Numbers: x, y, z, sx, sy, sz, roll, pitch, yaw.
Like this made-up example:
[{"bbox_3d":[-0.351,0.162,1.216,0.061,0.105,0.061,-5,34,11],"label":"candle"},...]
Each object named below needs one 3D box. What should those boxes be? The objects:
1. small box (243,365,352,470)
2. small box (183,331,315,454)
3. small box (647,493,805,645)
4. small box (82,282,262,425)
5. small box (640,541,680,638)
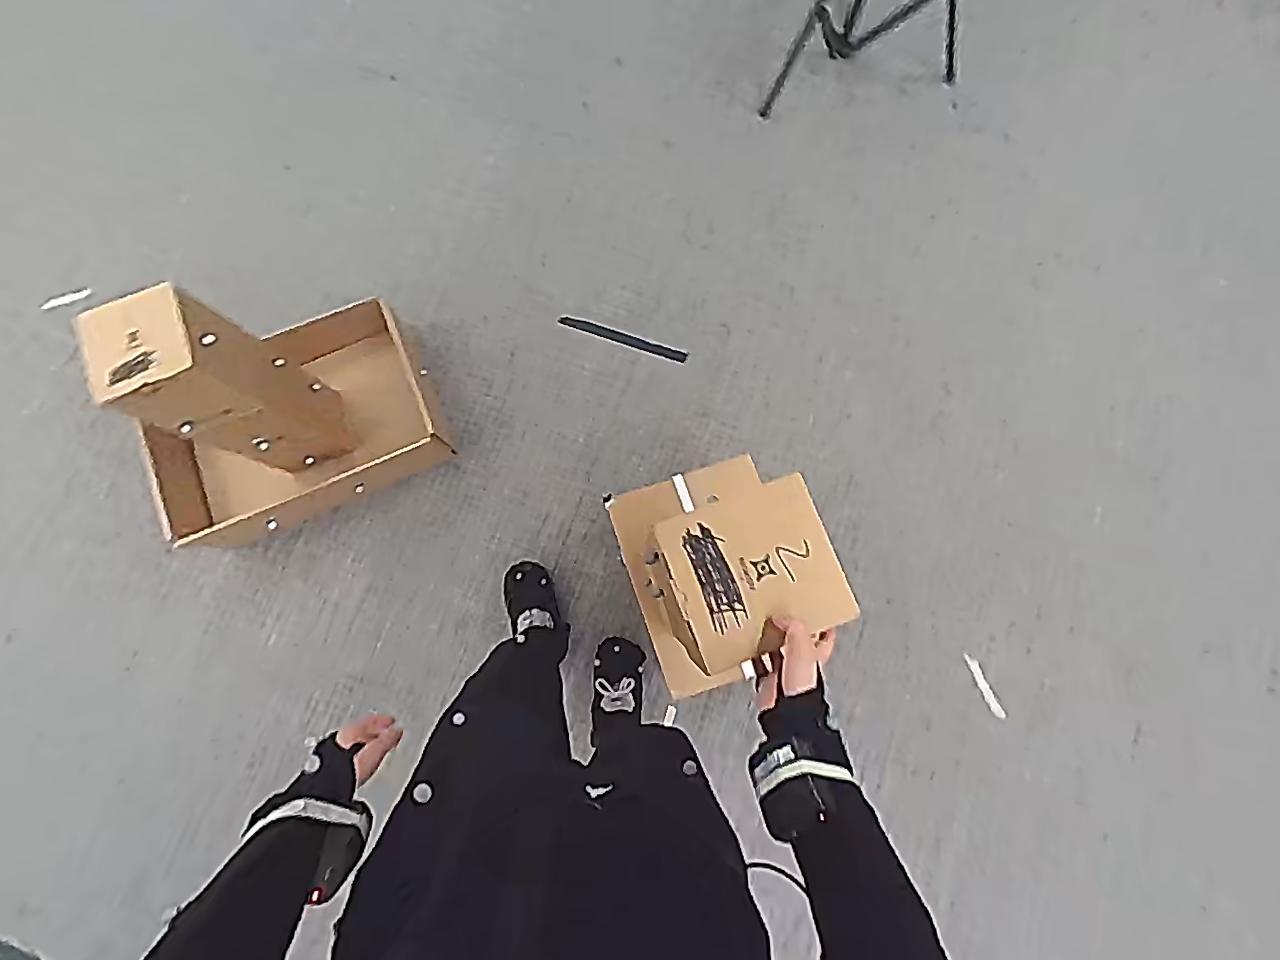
[{"bbox_3d":[-0.824,-0.142,1.291,0.168,0.176,0.179,-20,79,-4],"label":"small box"},{"bbox_3d":[-0.823,-0.176,1.132,0.168,0.176,0.179,-22,80,-4],"label":"small box"},{"bbox_3d":[0.117,0.134,0.810,0.179,0.176,0.168,-18,80,-4],"label":"small box"},{"bbox_3d":[-0.826,-0.213,0.972,0.168,0.176,0.179,-22,78,-4],"label":"small box"},{"bbox_3d":[0.106,0.172,0.970,0.179,0.176,0.168,-19,80,-5],"label":"small box"}]
